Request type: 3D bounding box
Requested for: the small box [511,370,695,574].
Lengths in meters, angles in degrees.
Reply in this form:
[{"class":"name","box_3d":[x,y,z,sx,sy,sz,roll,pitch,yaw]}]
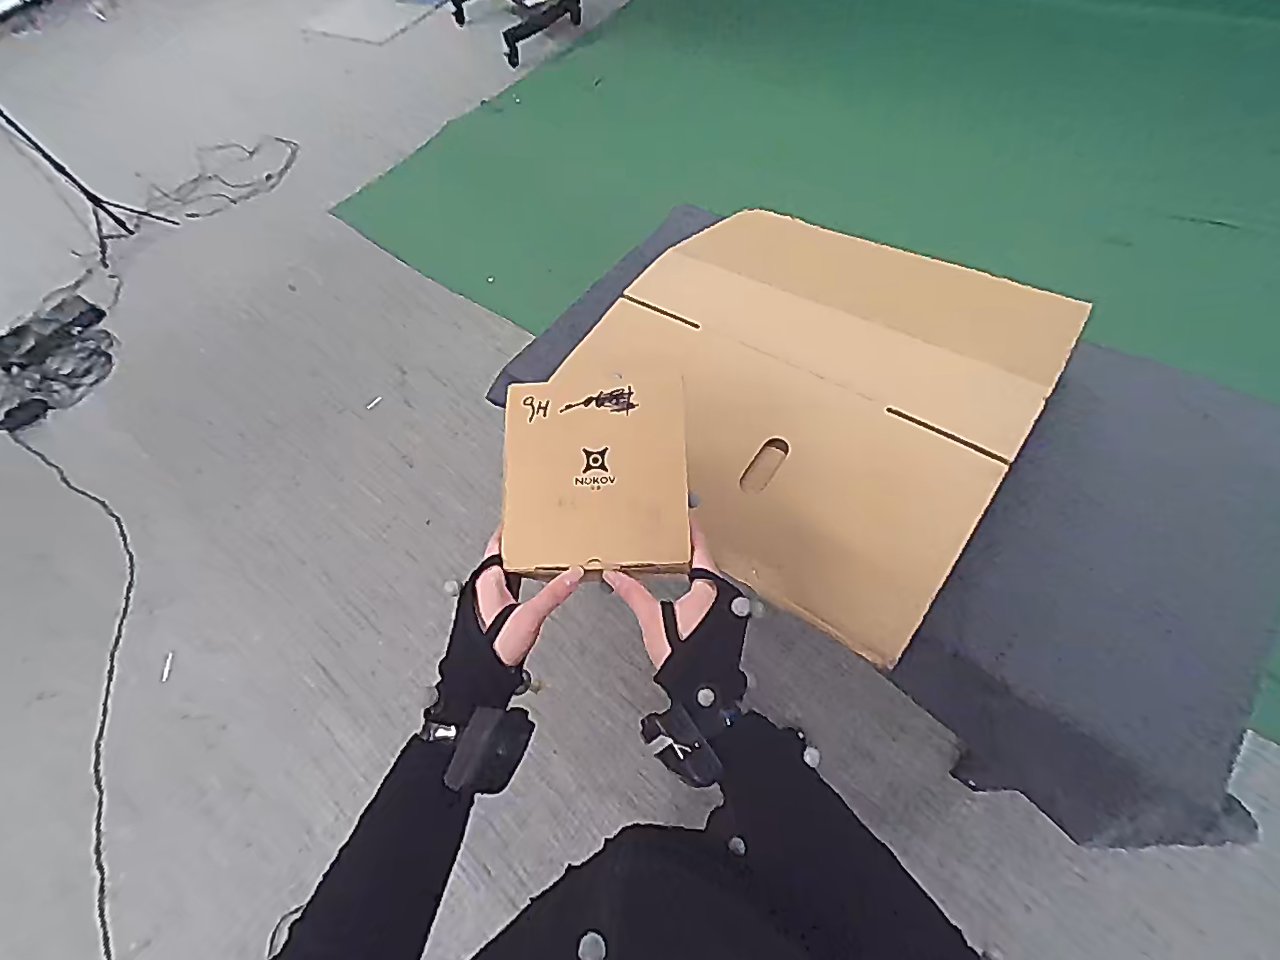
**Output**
[{"class":"small box","box_3d":[-0.029,0.005,0.568,0.168,0.176,0.179,-5,75,4]}]
